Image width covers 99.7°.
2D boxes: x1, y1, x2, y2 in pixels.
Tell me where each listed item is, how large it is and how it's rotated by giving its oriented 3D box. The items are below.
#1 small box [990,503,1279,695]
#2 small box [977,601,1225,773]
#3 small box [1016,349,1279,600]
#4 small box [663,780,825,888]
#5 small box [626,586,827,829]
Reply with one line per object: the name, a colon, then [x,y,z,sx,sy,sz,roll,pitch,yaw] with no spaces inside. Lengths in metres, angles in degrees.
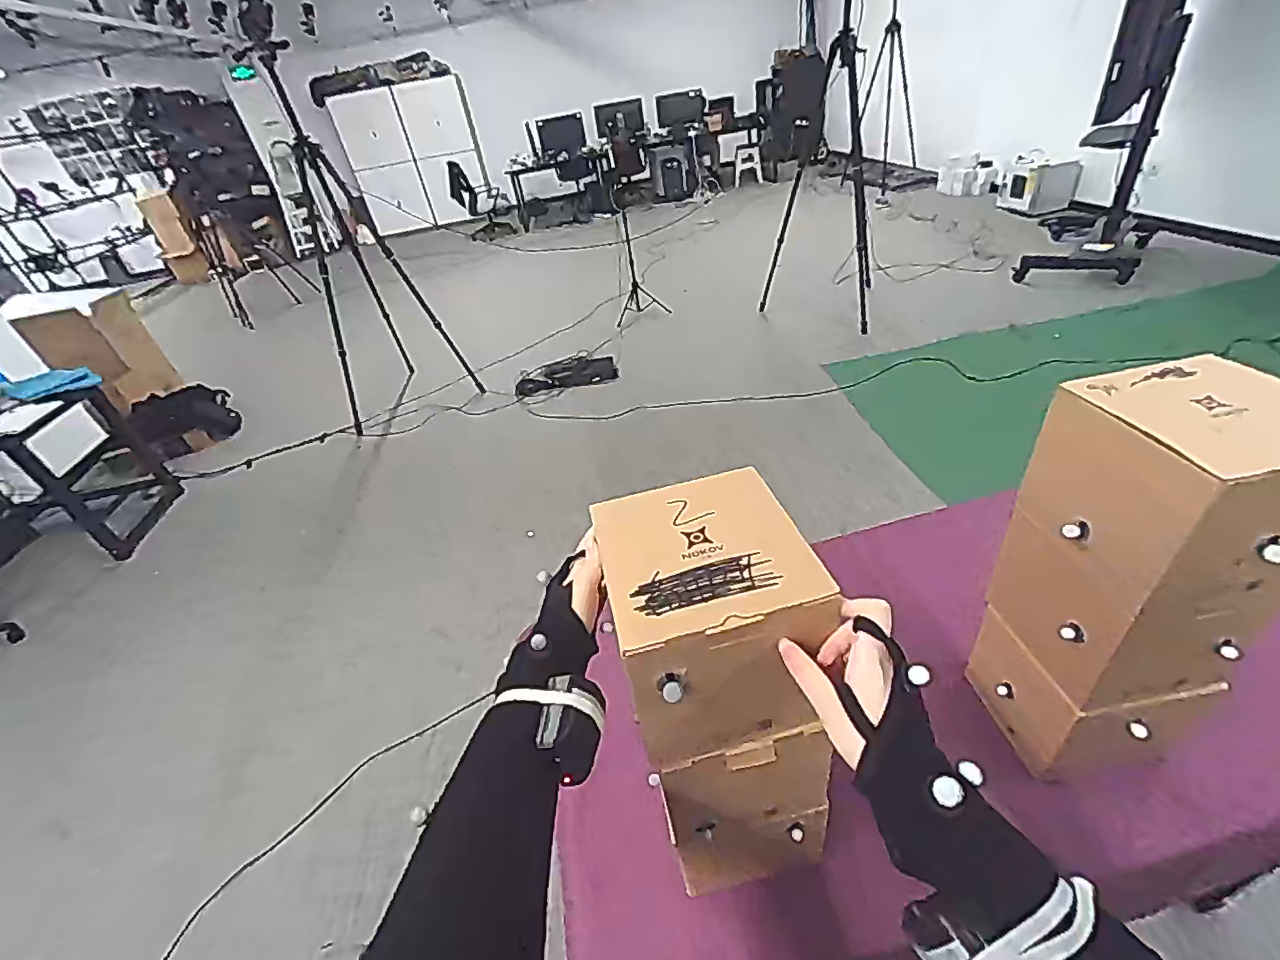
small box: [0.550,0.127,0.626,0.168,0.176,0.179,-11,36,1]
small box: [0.580,0.260,0.716,0.179,0.176,0.168,-11,37,1]
small box: [0.519,-0.002,0.529,0.168,0.176,0.179,-11,37,0]
small box: [0.119,0.383,0.689,0.179,0.176,0.168,-13,36,-3]
small box: [0.090,0.252,0.595,0.168,0.176,0.179,-14,36,-4]
